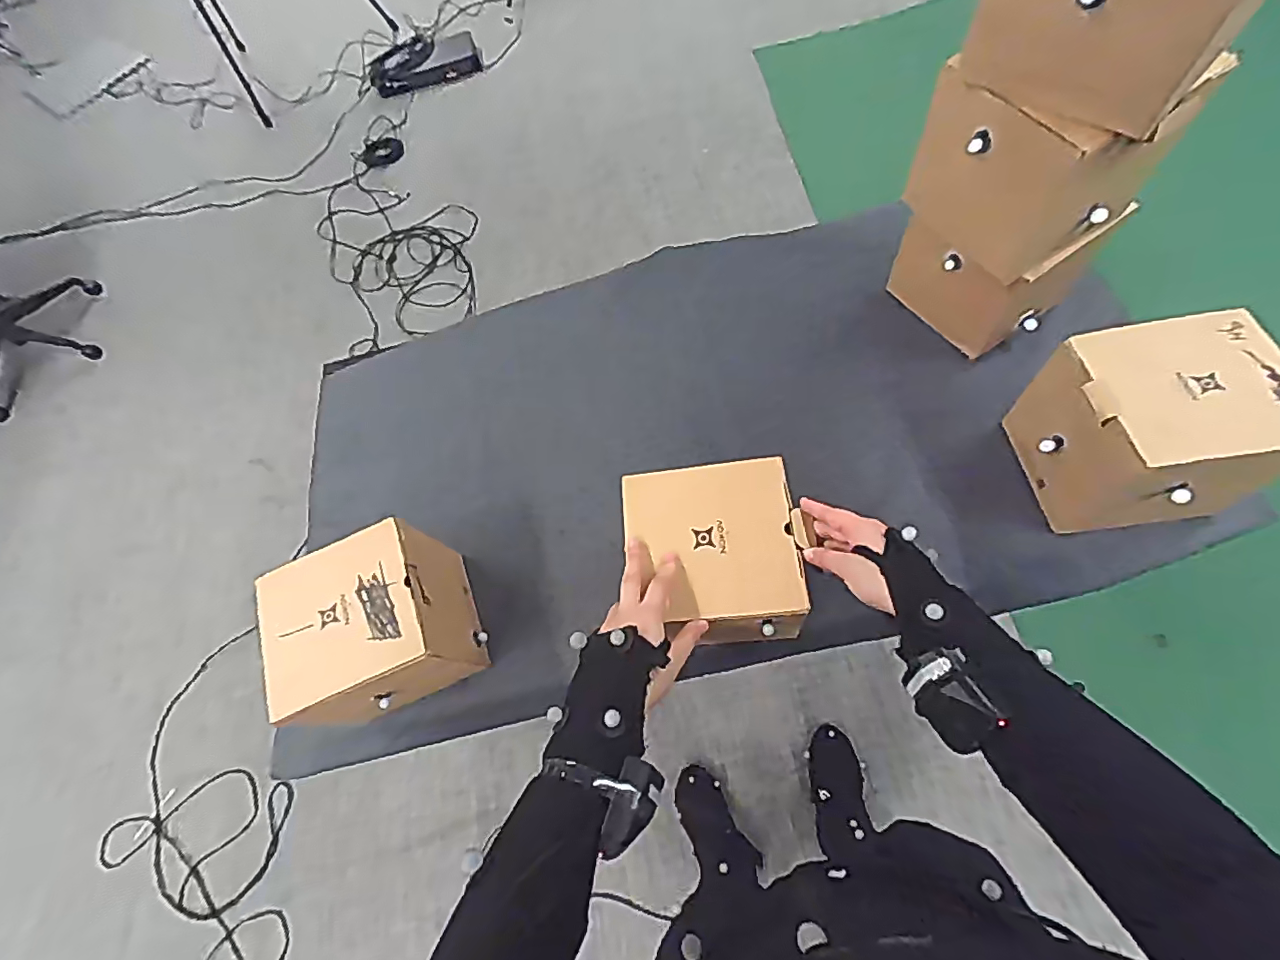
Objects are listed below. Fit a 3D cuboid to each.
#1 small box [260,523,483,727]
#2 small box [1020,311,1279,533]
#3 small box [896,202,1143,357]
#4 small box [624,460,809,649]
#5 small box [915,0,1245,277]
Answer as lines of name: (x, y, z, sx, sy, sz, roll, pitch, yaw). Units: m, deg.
small box: (-0.307, 0.178, 0.652, 0.179, 0.176, 0.168, -24, 66, 0)
small box: (0.558, -0.052, 0.594, 0.179, 0.176, 0.168, -9, 62, 7)
small box: (0.478, -0.300, 0.719, 0.168, 0.176, 0.179, -35, 68, -3)
small box: (0.086, 0.095, 0.621, 0.179, 0.176, 0.168, -7, 65, 8)
small box: (0.428, -0.355, 0.570, 0.168, 0.176, 0.179, -31, 66, 0)
